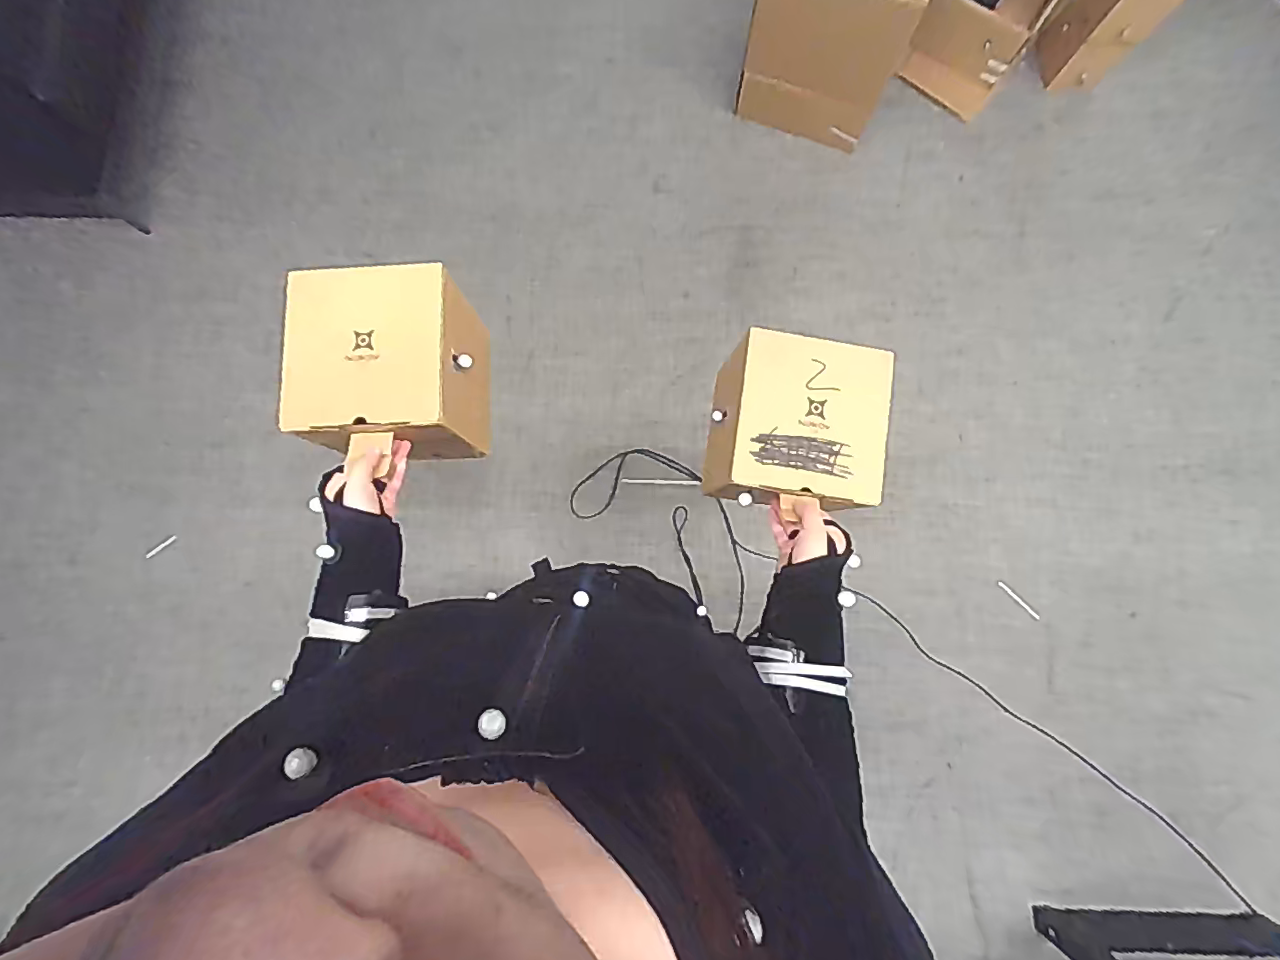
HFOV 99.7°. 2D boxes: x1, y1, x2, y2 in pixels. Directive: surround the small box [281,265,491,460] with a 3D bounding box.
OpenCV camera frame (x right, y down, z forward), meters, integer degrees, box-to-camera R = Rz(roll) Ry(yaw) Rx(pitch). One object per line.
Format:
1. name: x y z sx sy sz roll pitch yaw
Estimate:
1. small box: -0.279 -0.126 0.632 0.168 0.176 0.179 -2 82 1
